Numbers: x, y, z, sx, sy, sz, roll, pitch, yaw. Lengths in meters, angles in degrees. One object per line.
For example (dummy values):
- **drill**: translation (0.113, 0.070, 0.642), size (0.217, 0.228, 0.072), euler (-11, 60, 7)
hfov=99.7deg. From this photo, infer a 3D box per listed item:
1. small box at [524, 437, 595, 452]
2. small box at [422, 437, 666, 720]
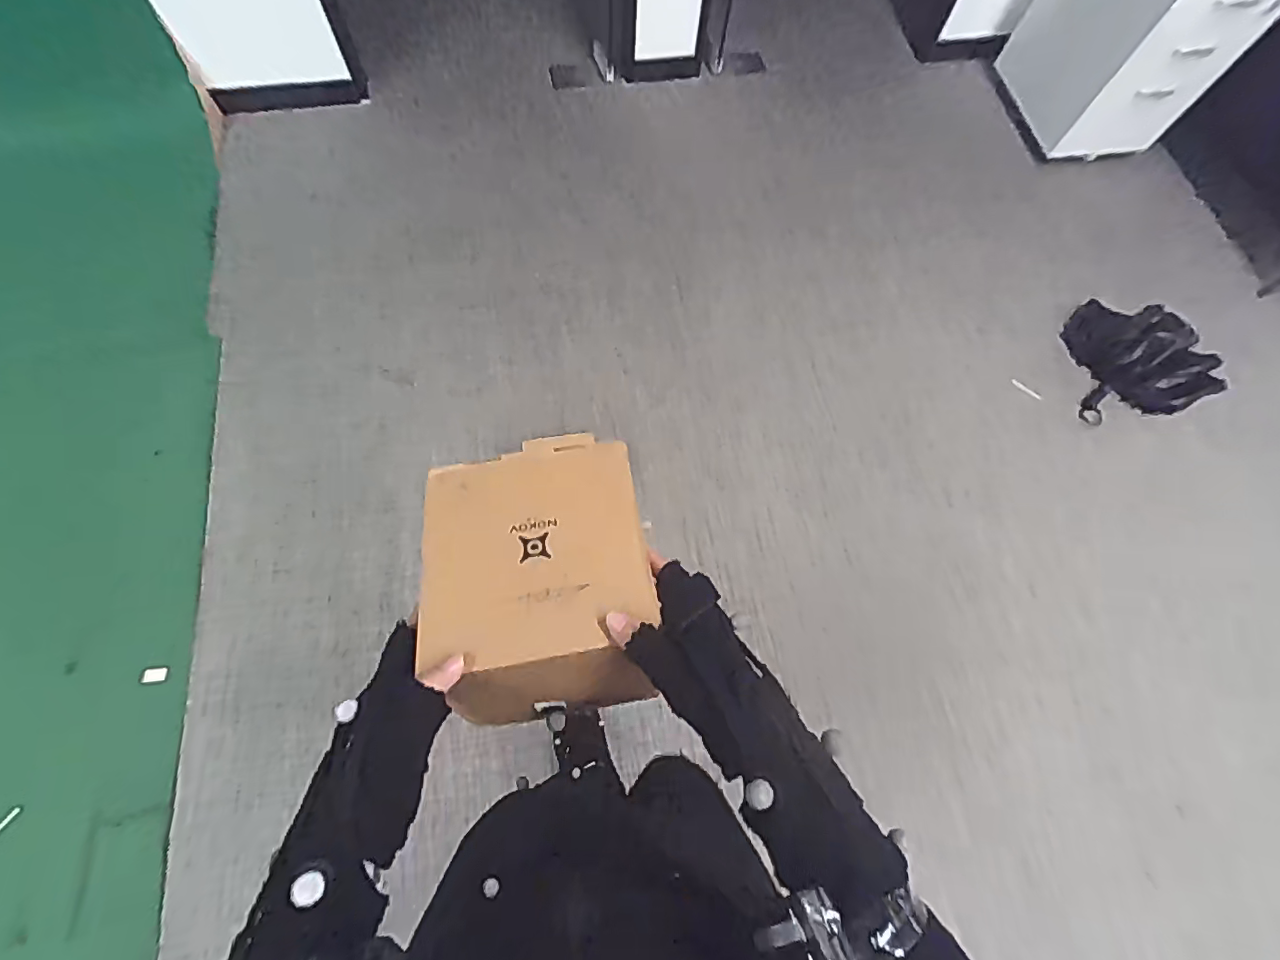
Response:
- **small box**: translation (-0.191, 0.008, 1.358), size (0.179, 0.176, 0.168), euler (-7, 69, -6)
- **small box**: translation (-0.076, 0.090, 0.475), size (0.168, 0.176, 0.179), euler (-10, 56, -5)
